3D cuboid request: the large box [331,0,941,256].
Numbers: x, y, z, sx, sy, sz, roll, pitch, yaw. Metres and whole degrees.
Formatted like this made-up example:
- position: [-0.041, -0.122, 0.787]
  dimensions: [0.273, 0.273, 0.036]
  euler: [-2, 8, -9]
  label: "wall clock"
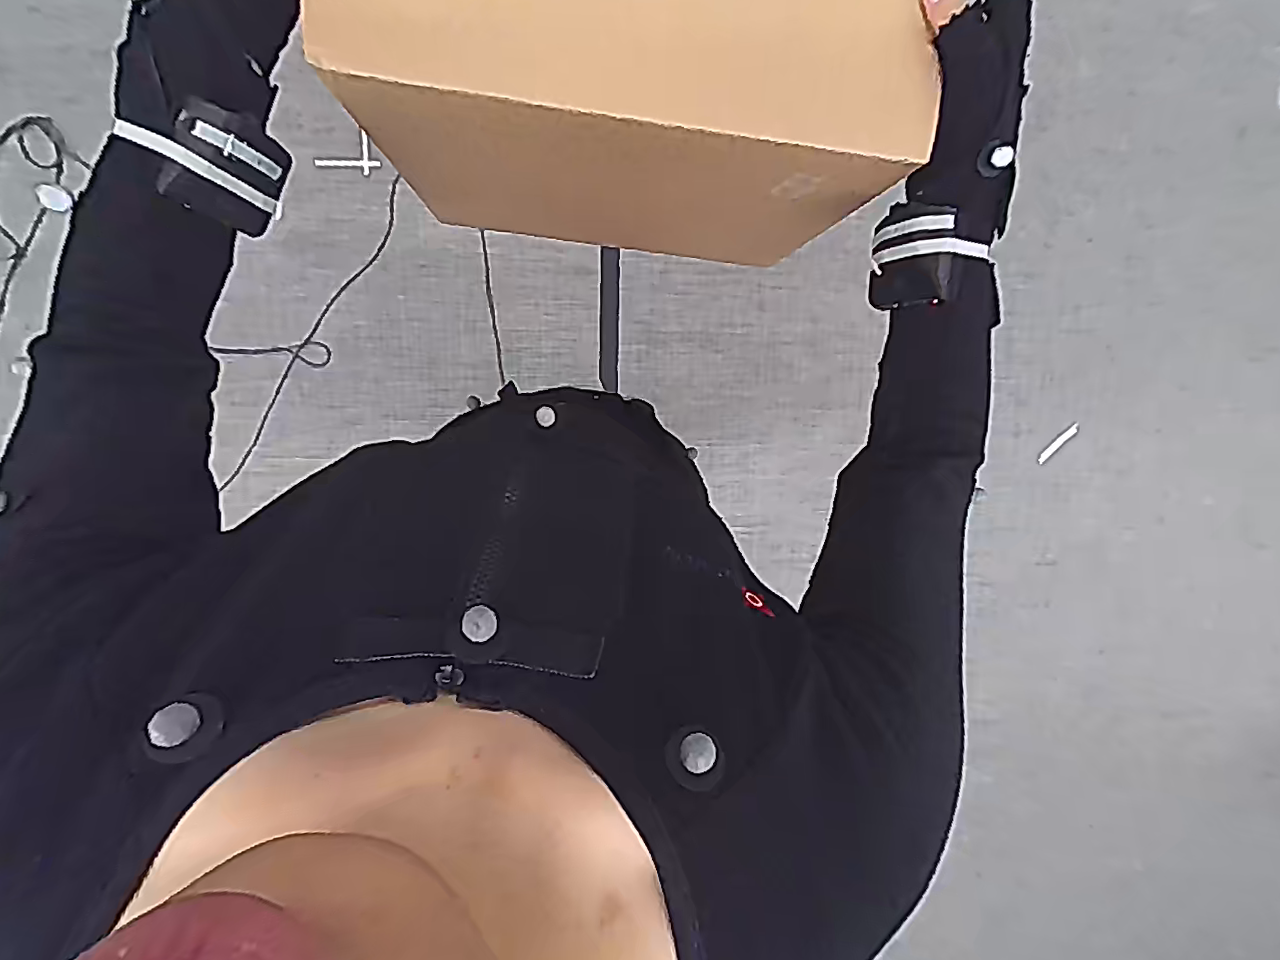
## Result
- position: [-0.003, -0.417, 0.485]
  dimensions: [0.408, 0.320, 0.320]
  euler: [4, 99, -7]
  label: "large box"
